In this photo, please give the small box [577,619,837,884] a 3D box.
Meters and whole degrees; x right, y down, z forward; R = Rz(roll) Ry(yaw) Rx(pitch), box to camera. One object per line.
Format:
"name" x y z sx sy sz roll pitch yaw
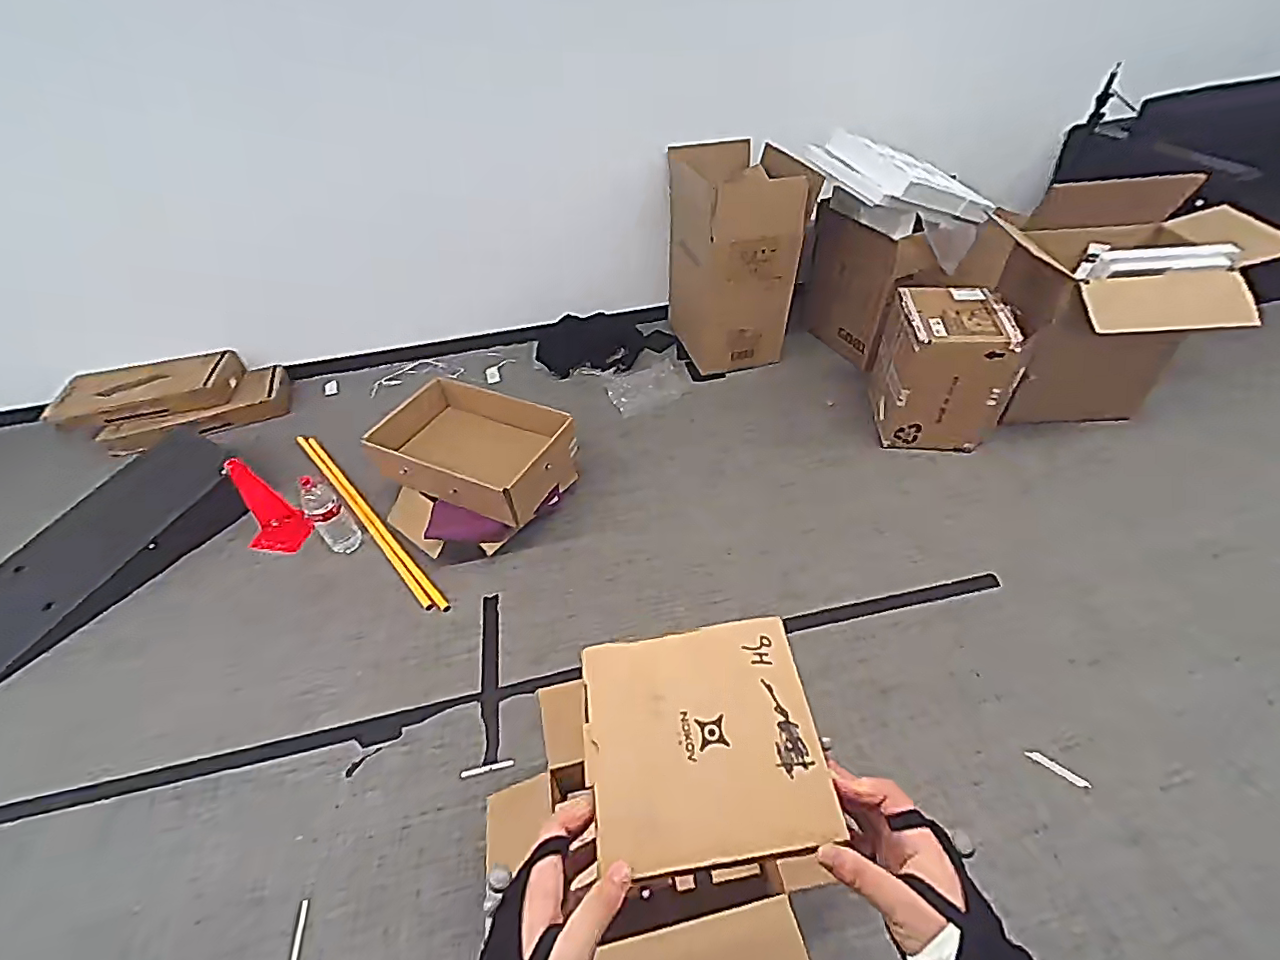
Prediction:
"small box" 0.049 0.245 0.479 0.179 0.176 0.168 -9 53 -1
